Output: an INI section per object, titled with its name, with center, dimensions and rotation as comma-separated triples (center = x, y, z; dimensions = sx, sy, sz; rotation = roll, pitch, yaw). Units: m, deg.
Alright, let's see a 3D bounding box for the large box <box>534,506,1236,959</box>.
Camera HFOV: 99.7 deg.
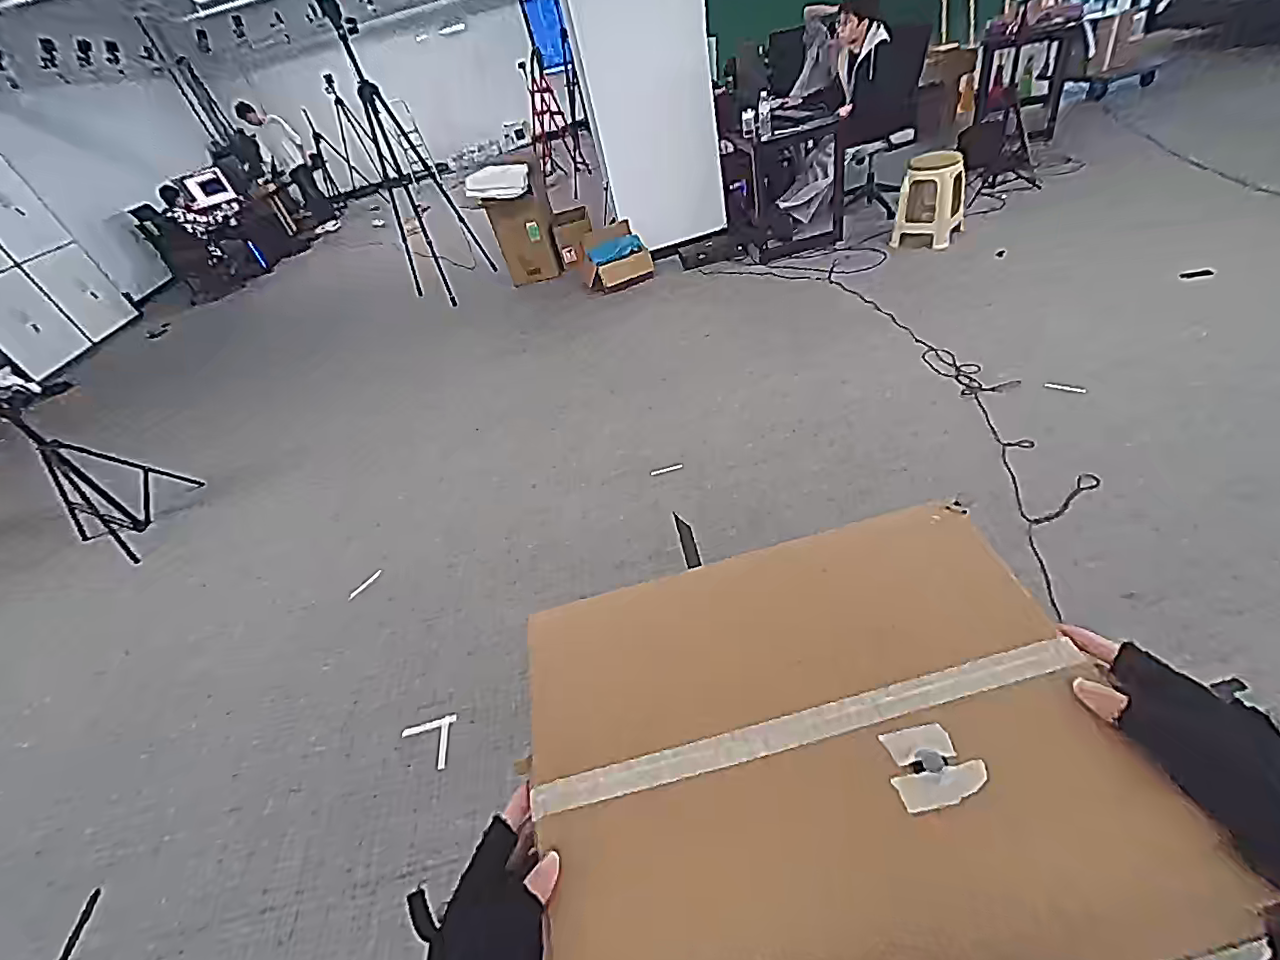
[large box]
center = 0.147, 0.283, 0.513
dimensions = 0.408, 0.320, 0.320
rotation = -16, 47, 0
